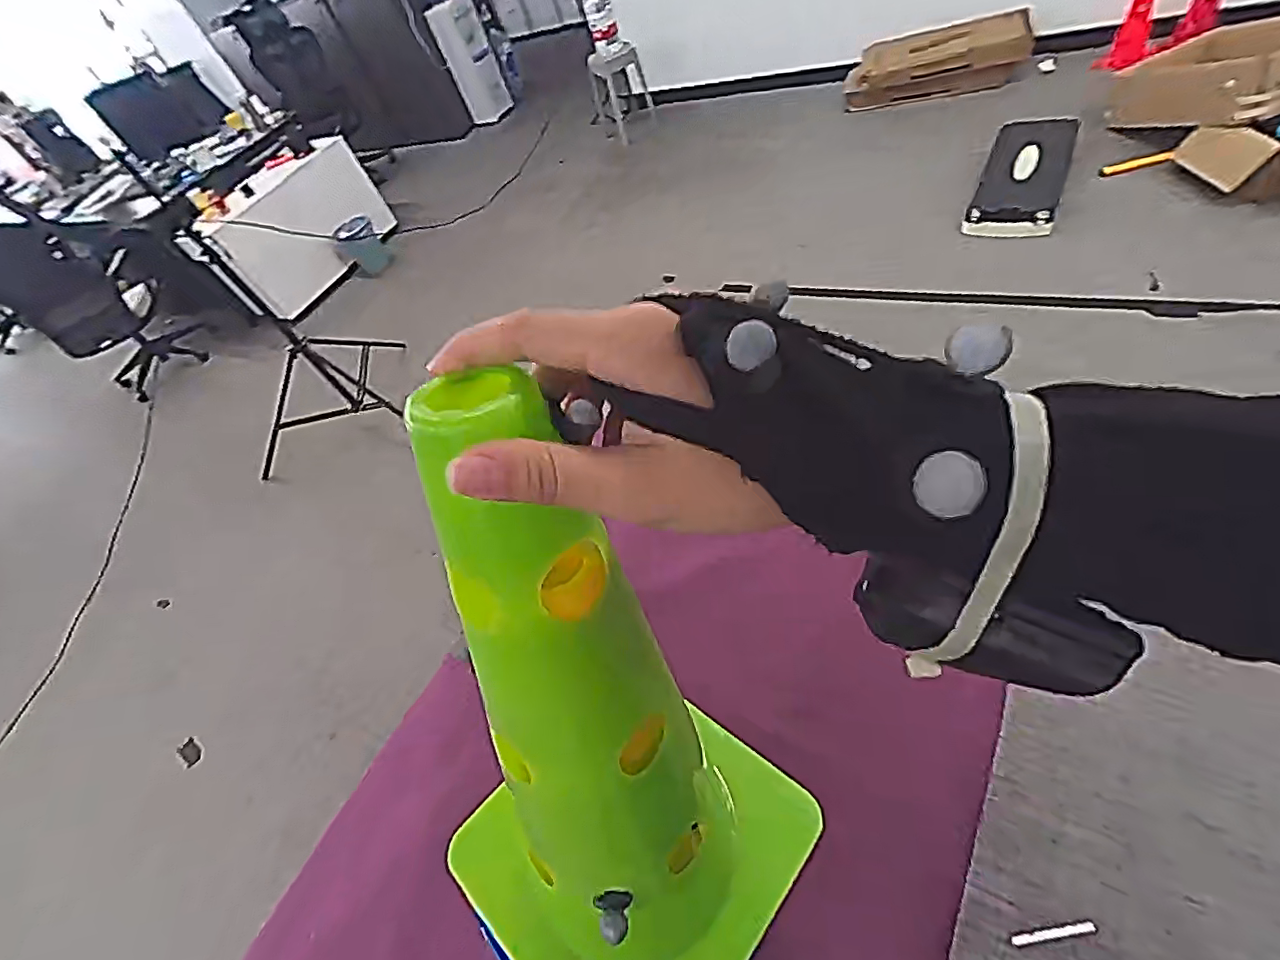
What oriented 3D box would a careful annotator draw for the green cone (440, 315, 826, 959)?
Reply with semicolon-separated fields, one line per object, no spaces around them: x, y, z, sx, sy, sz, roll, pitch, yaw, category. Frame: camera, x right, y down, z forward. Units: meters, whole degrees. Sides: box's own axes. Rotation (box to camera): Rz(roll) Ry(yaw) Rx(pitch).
-0.023;0.100;0.266;0.202;0.368;0.200;25;50;35;green cone
